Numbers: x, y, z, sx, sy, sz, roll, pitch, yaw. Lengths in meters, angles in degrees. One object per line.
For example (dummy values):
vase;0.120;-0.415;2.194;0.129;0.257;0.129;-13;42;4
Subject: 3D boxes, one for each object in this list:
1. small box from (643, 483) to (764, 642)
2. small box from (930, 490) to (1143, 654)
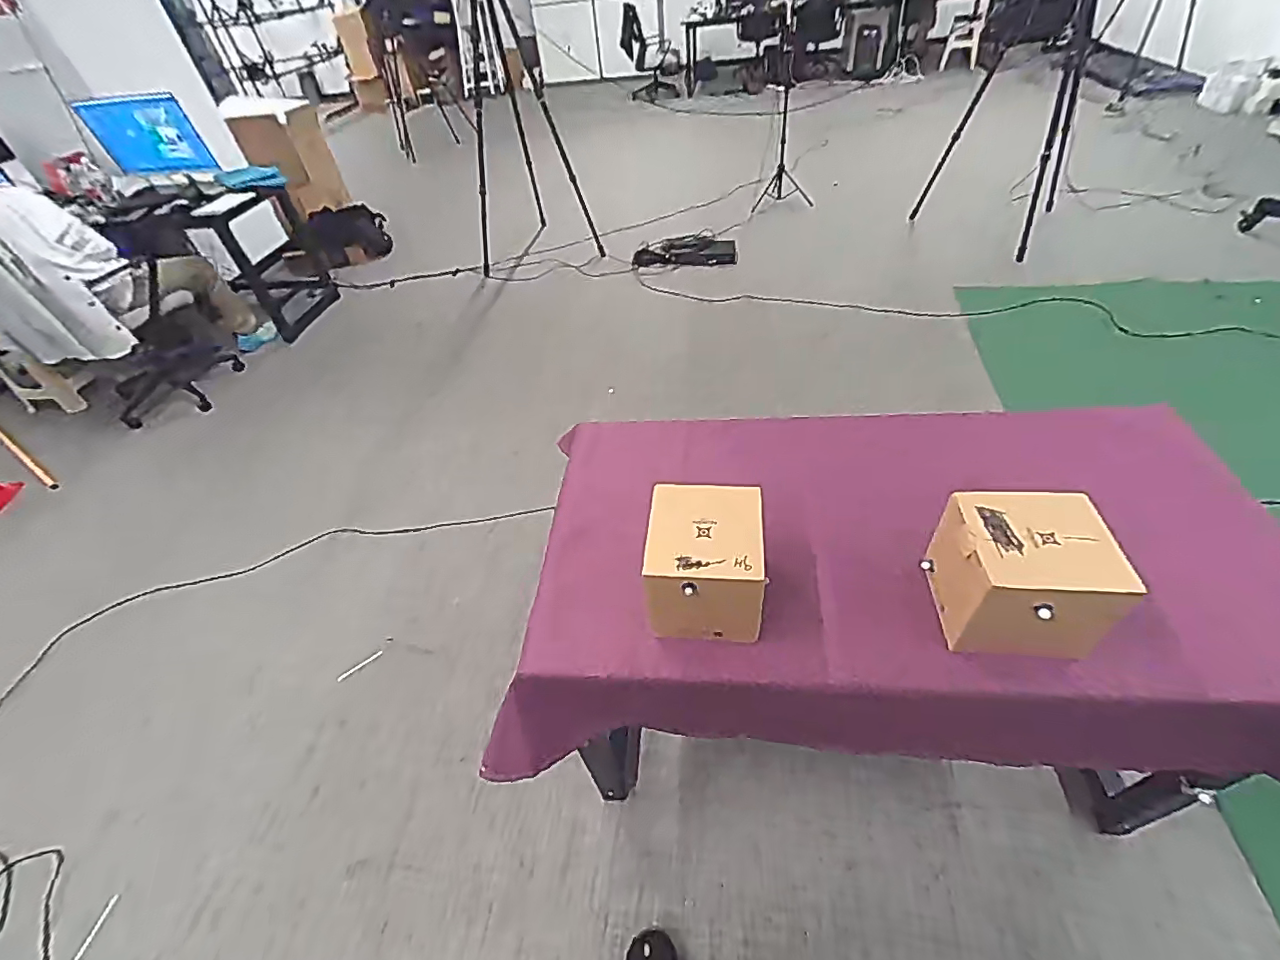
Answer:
small box;0.102;0.125;0.835;0.168;0.176;0.179;1;45;10
small box;0.532;0.132;0.765;0.179;0.176;0.168;1;46;9
